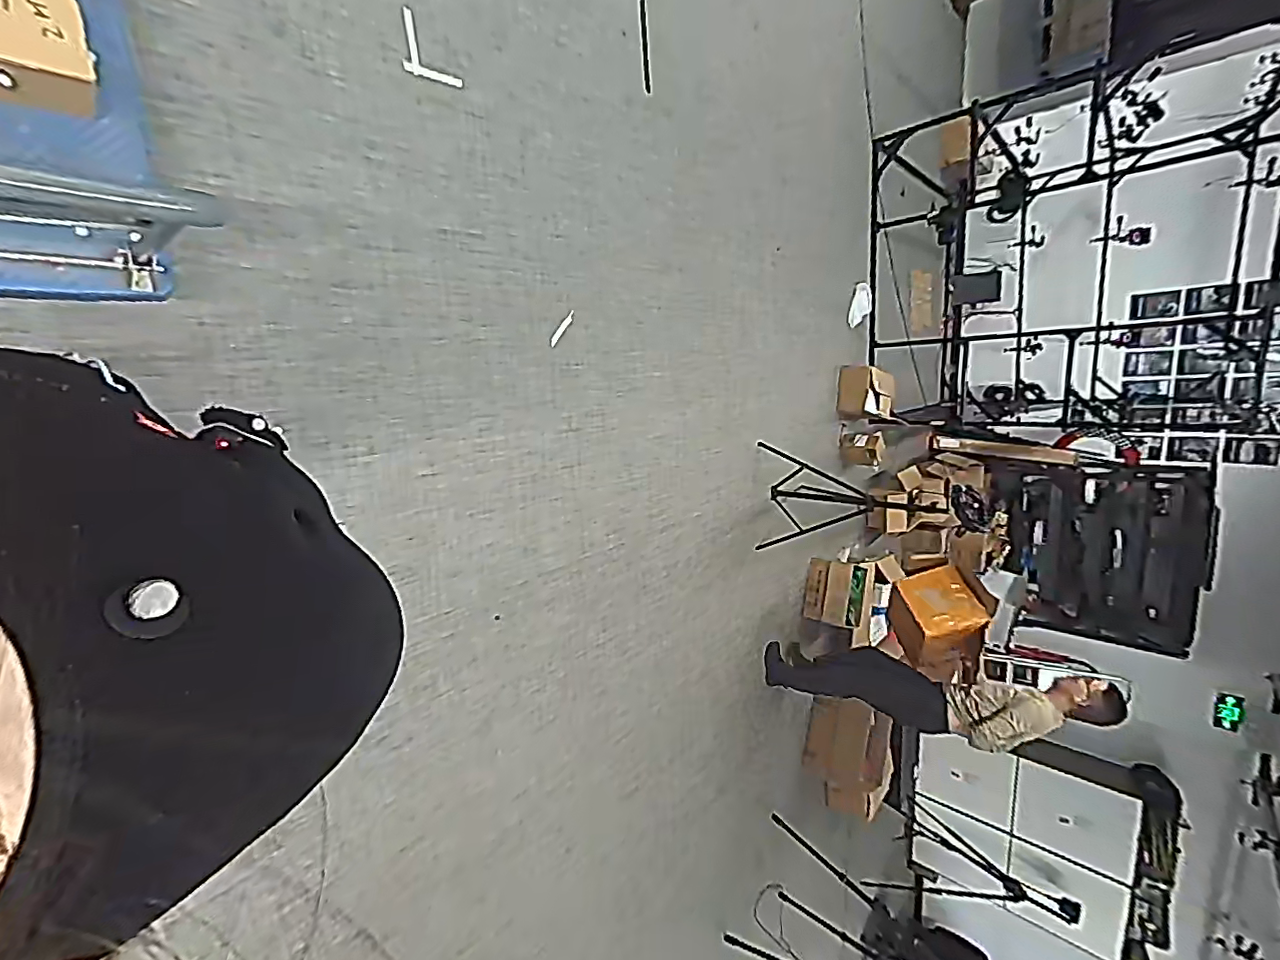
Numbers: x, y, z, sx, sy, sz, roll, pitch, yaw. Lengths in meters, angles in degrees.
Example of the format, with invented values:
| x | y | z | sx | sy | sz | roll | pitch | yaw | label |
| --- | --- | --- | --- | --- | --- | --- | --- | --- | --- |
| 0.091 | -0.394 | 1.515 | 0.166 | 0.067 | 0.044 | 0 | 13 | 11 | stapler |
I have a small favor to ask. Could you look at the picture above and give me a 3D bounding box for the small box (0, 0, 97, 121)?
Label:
| x | y | z | sx | sy | sz | roll | pitch | yaw | label |
| --- | --- | --- | --- | --- | --- | --- | --- | --- | --- |
| -0.939 | -0.660 | 0.792 | 0.179 | 0.176 | 0.168 | -17 | 108 | -45 | small box |
